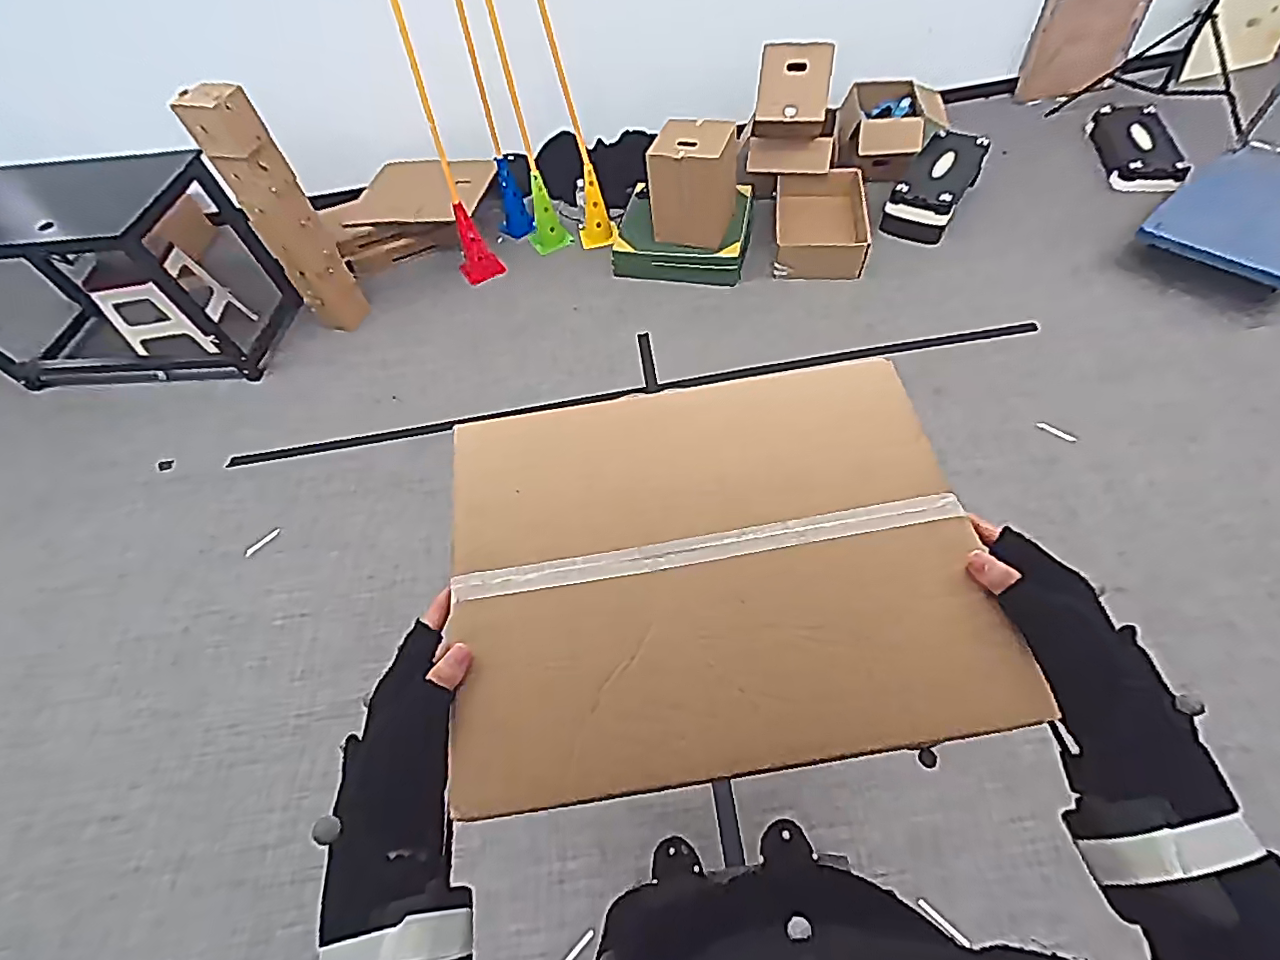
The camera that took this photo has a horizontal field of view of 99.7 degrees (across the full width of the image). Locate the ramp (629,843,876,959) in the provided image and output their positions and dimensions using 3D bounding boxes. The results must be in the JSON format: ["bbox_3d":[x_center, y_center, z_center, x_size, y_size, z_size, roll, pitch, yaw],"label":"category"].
[{"bbox_3d":[0.288,1.287,0.995,0.509,0.206,0.991,-10,57,-1],"label":"ramp"}]

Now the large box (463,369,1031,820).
[{"bbox_3d":[0.066,0.129,0.569,0.408,0.320,0.320,-10,61,-1],"label":"large box"}]
